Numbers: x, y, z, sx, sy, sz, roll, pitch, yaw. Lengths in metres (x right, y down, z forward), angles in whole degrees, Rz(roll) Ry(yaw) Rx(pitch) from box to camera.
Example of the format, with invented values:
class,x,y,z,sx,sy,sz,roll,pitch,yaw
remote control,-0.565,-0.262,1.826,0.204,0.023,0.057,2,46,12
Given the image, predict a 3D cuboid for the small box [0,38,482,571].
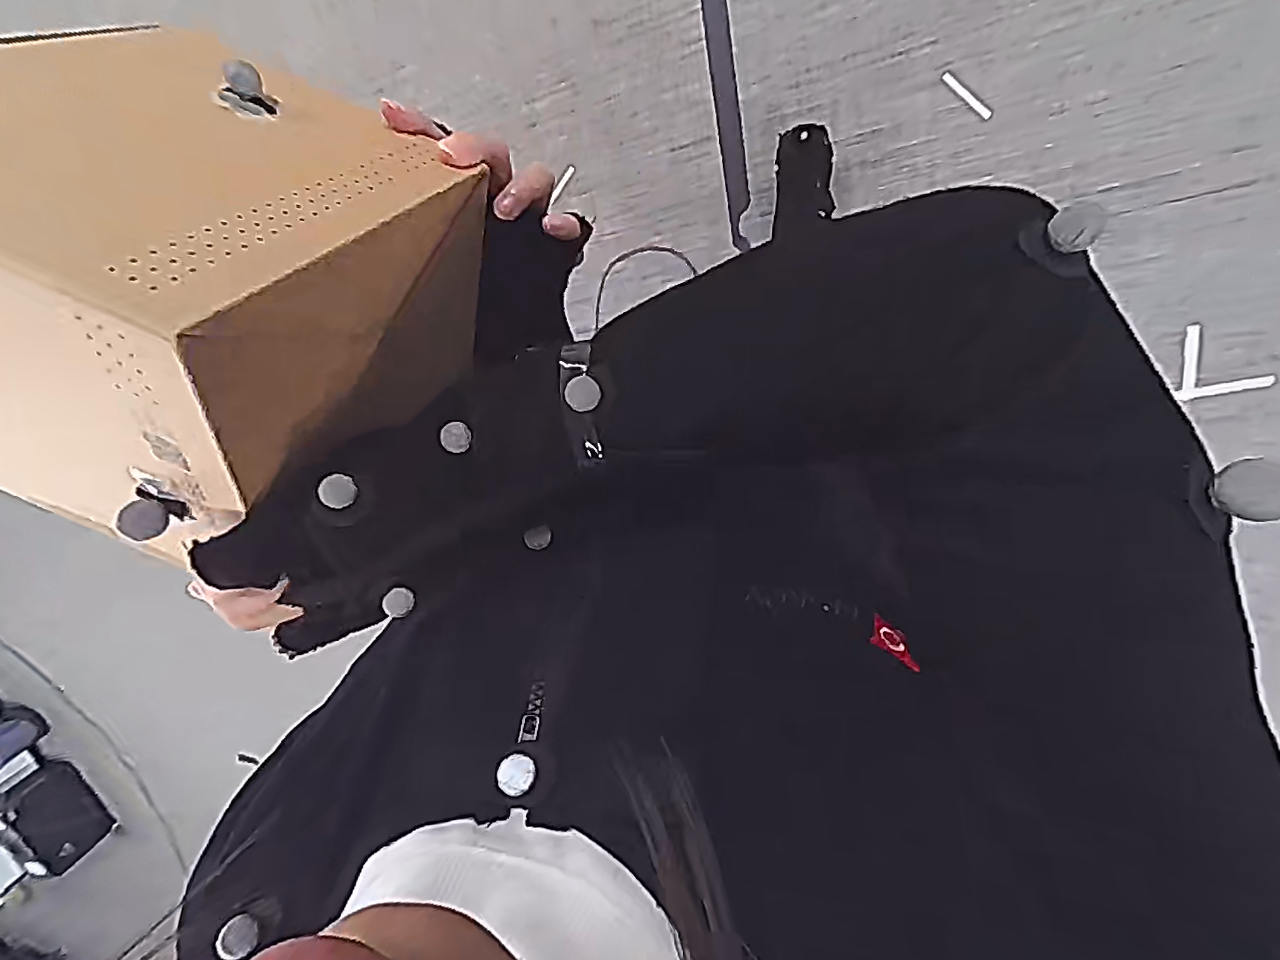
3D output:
class,x,y,z,sx,sy,sz,roll,pitch,yaw
small box,-0.192,-0.086,0.276,0.176,0.179,0.168,23,137,0
